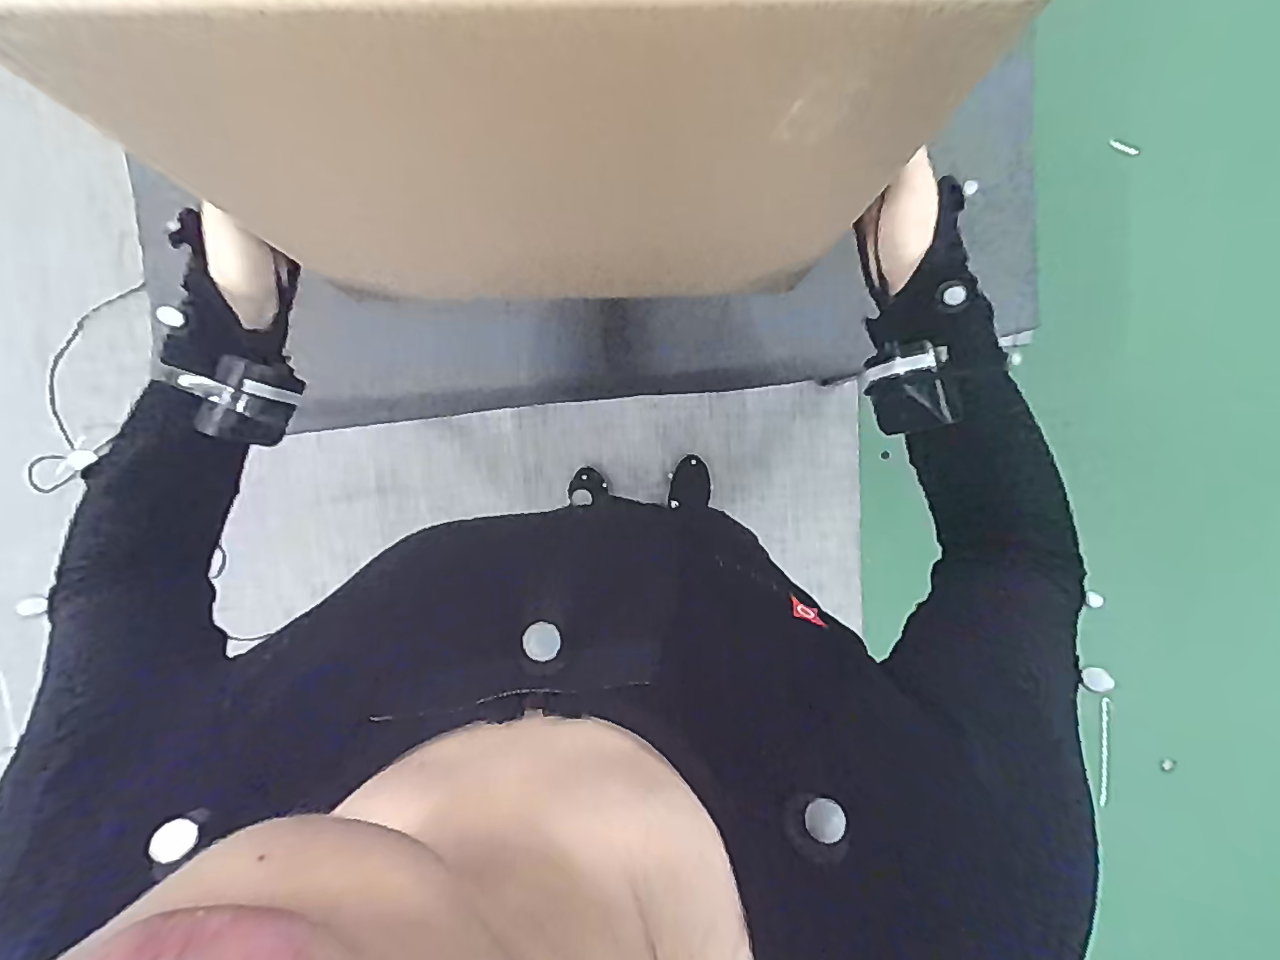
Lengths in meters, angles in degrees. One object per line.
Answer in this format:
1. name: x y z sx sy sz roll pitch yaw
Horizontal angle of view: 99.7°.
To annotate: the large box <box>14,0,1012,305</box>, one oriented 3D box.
1. large box: -0.058 -0.328 0.366 0.408 0.320 0.320 -3 90 -3
